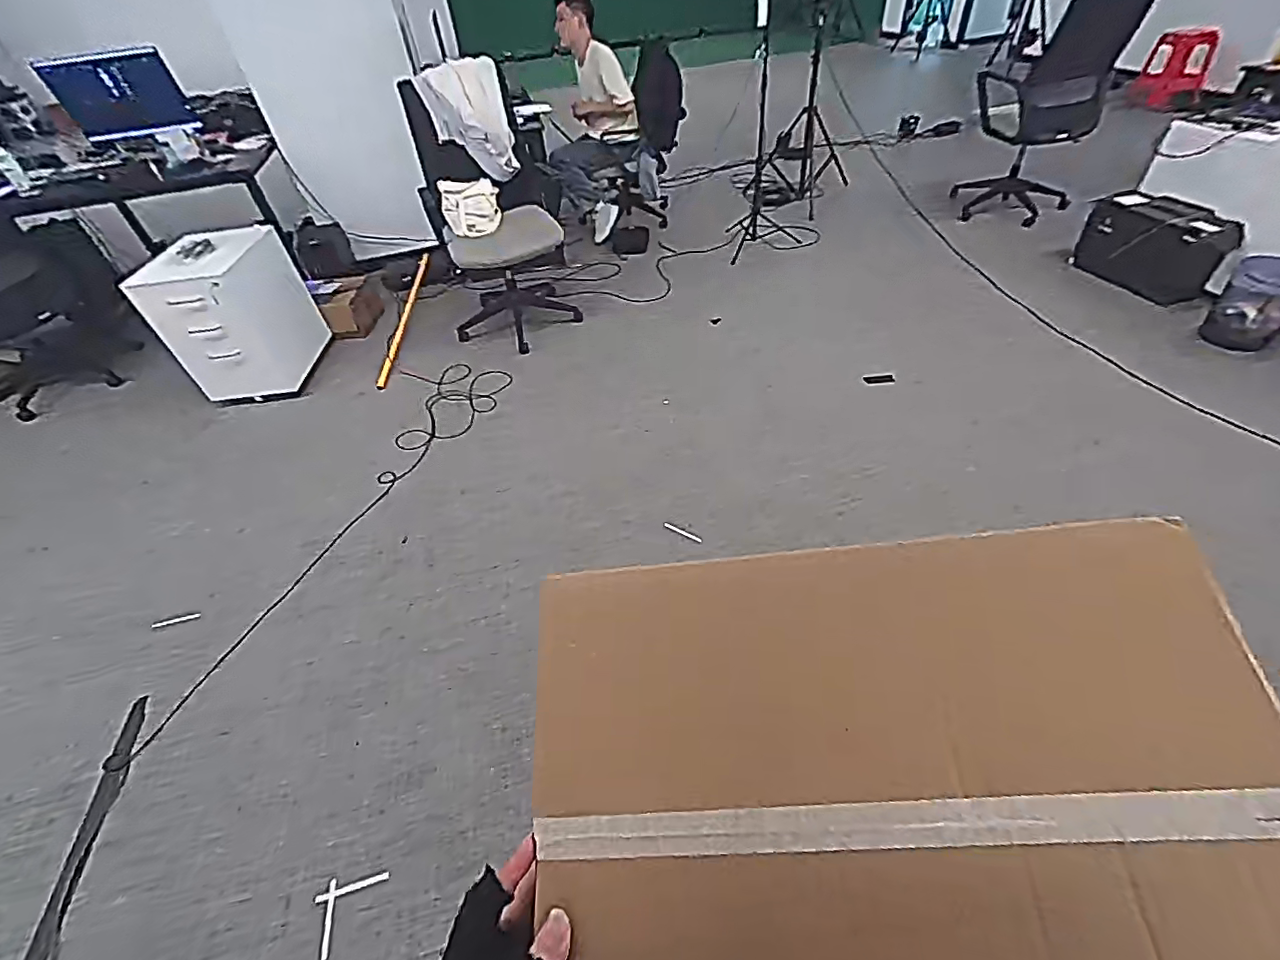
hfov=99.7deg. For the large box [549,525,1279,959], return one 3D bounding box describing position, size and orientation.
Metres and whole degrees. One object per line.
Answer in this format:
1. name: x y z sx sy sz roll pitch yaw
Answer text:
1. large box: 0.164 0.253 0.432 0.408 0.320 0.320 -7 65 8
